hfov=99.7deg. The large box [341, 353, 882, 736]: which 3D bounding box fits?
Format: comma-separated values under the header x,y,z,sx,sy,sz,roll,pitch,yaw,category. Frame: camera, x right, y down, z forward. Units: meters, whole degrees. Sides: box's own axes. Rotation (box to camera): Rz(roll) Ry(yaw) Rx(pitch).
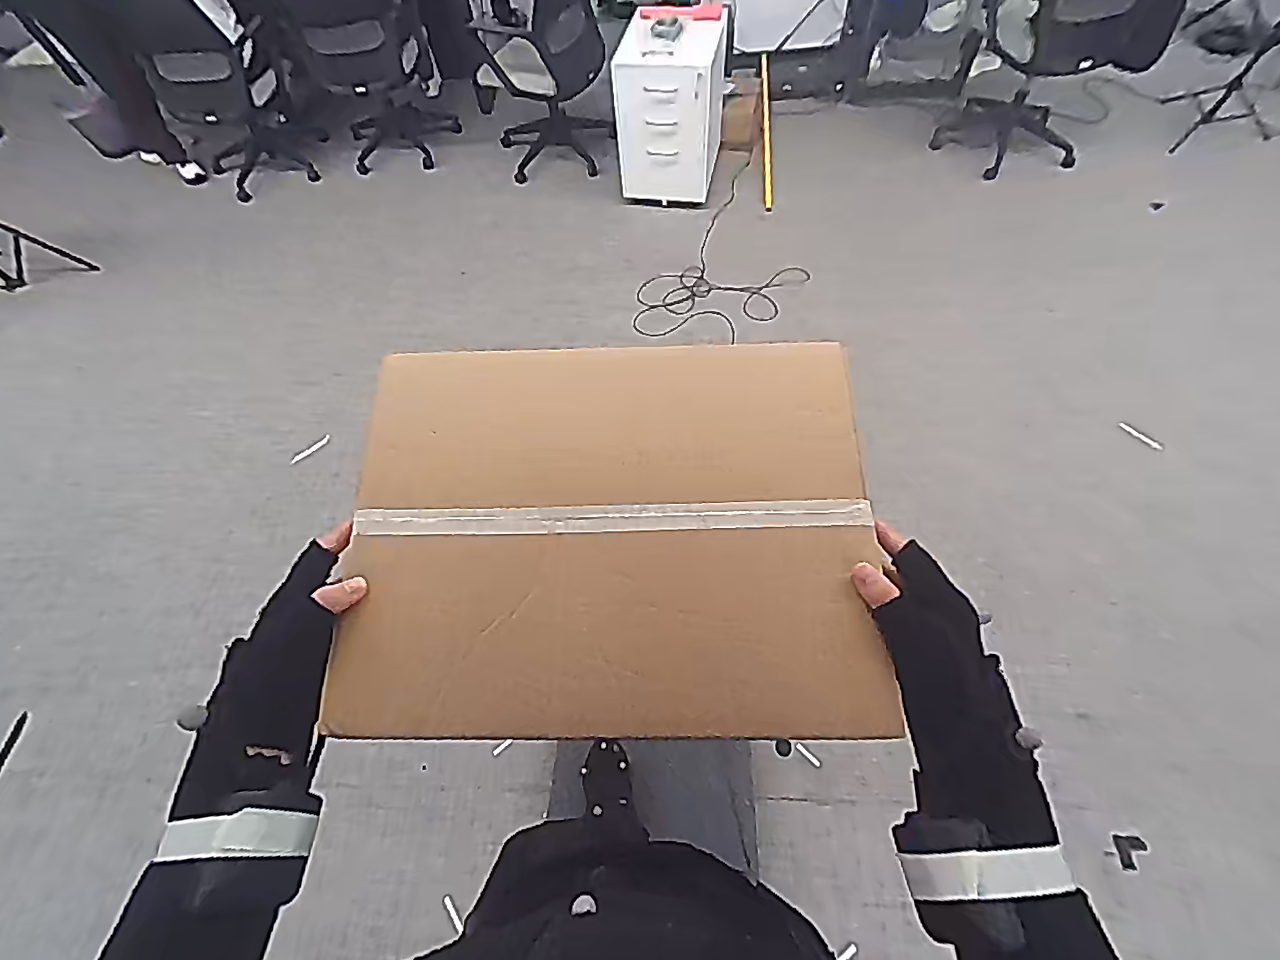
x,y,z,sx,sy,sz,roll,pitch,yaw,category
-0.018,0.086,0.580,0.408,0.320,0.320,-1,69,3,large box
